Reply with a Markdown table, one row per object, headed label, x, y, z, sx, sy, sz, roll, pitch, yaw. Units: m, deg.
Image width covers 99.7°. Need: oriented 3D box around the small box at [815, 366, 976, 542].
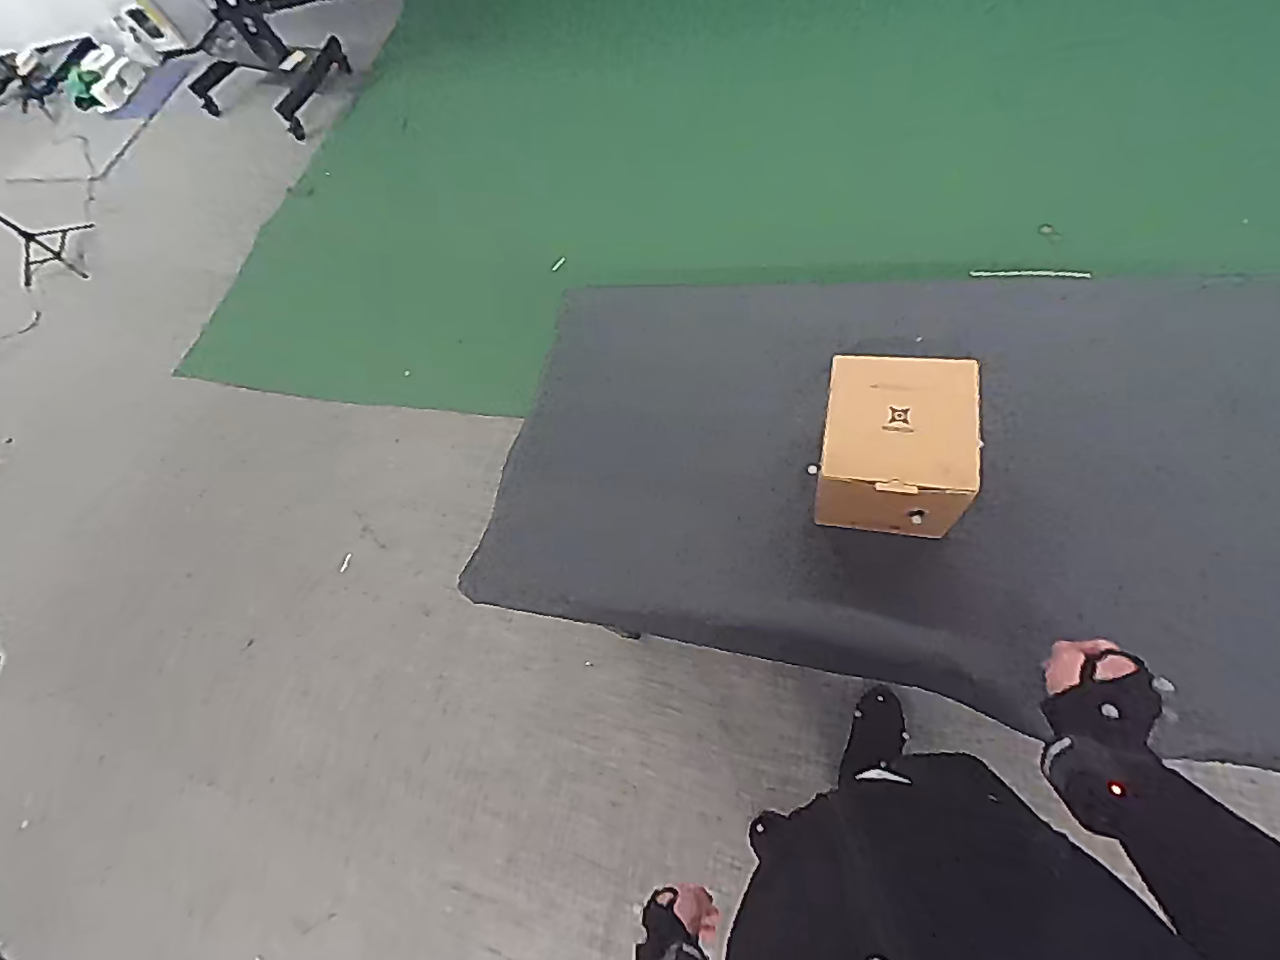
| label | x | y | z | sx | sy | sz | roll | pitch | yaw |
| --- | --- | --- | --- | --- | --- | --- | --- | --- | --- |
| small box | 0.327 | -0.029 | 0.717 | 0.168 | 0.176 | 0.179 | 6 | 67 | 16 |
